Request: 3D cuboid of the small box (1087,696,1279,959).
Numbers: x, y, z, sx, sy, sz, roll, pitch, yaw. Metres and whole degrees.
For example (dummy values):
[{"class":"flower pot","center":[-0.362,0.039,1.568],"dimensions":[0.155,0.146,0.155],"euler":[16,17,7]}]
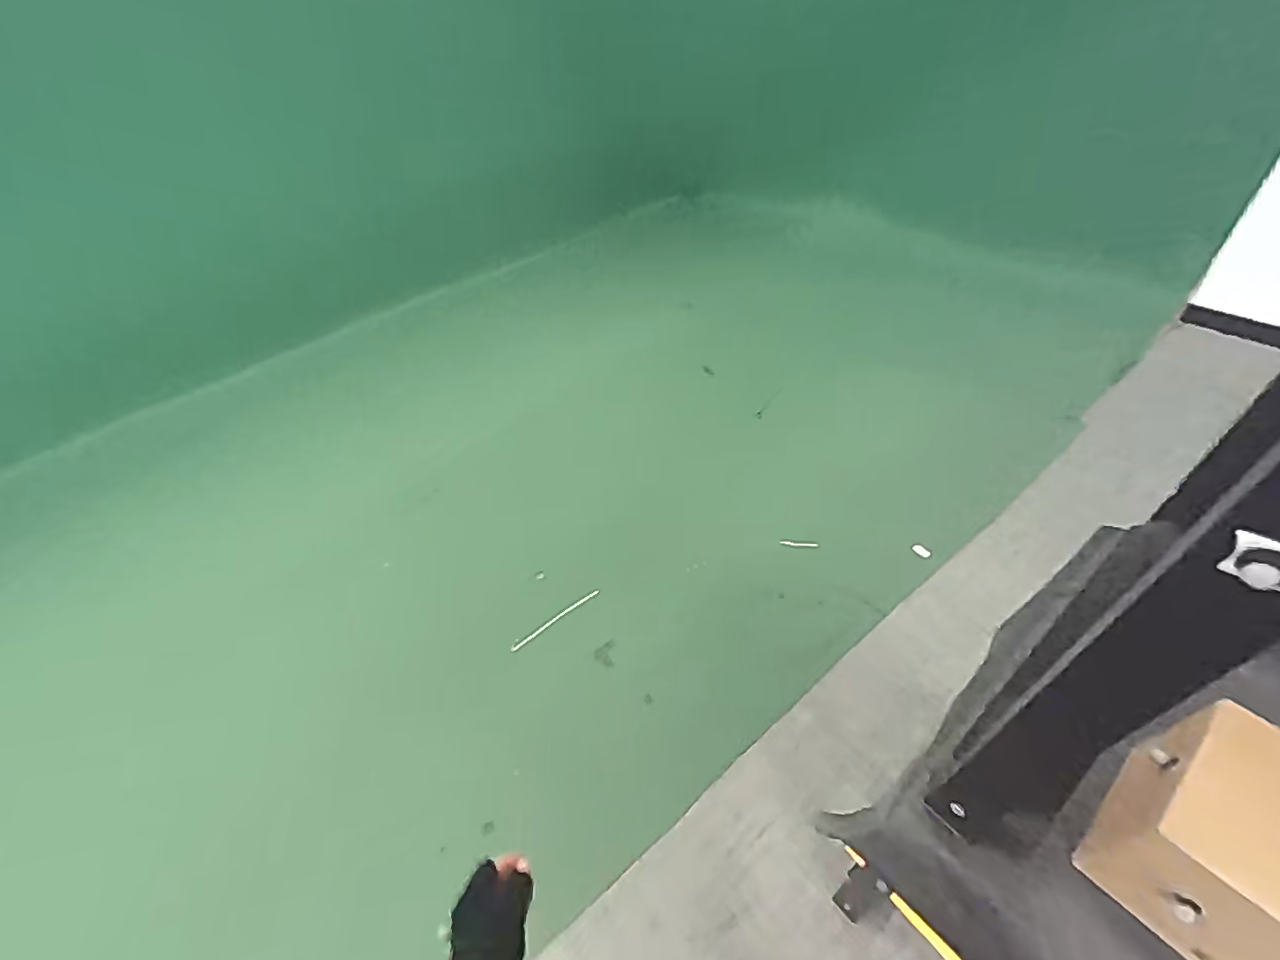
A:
[{"class":"small box","center":[0.572,0.351,0.508],"dimensions":[0.179,0.176,0.168],"euler":[-34,51,-23]}]
